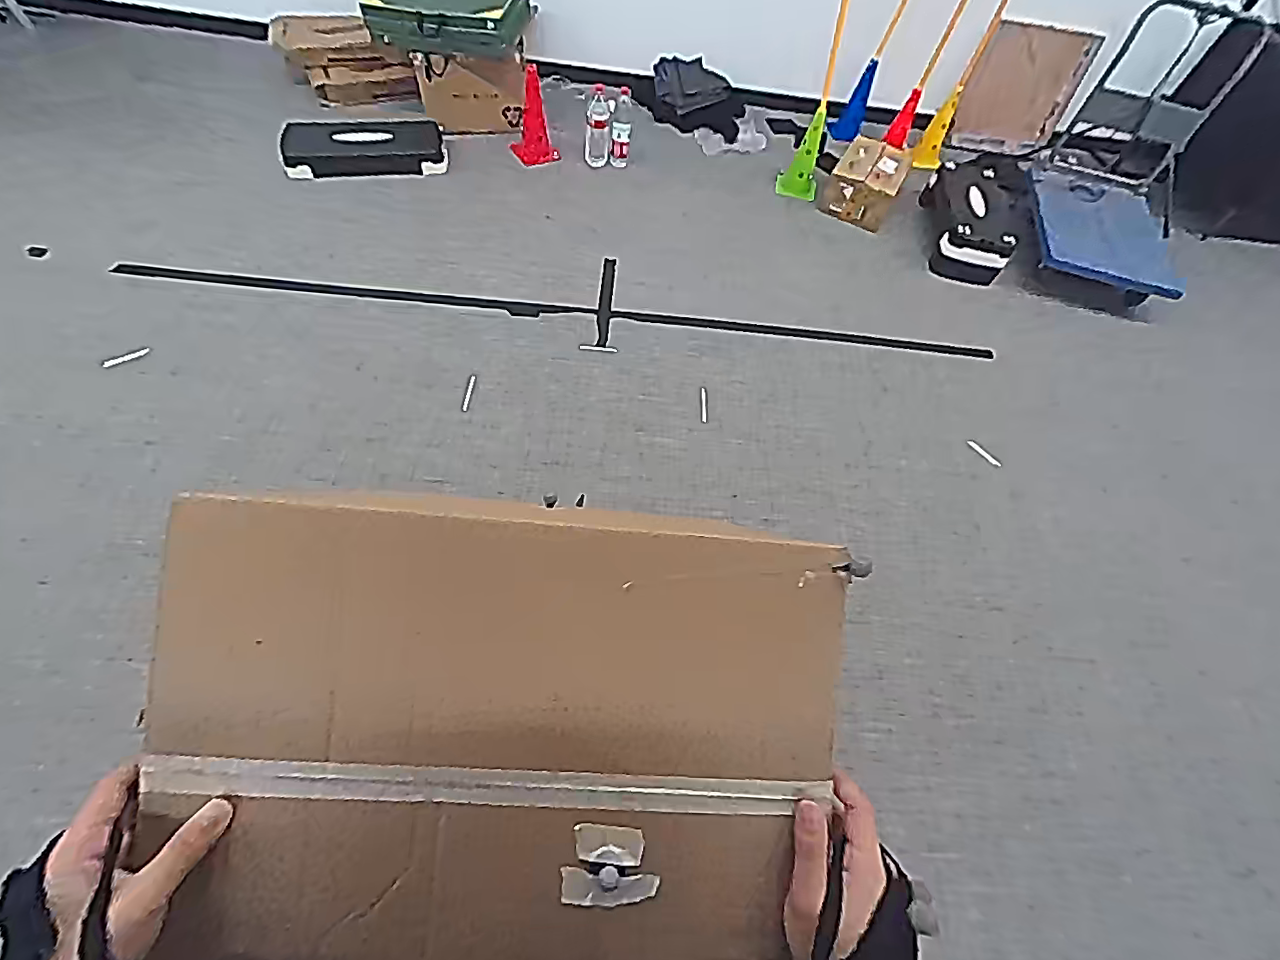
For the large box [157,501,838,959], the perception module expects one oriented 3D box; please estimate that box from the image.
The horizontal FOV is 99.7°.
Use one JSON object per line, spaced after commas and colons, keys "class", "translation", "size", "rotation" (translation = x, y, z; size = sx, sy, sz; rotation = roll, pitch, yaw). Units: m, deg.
{"class": "large box", "translation": [-0.092, 0.185, 0.485], "size": [0.408, 0.320, 0.320], "rotation": [5, 90, -6]}
